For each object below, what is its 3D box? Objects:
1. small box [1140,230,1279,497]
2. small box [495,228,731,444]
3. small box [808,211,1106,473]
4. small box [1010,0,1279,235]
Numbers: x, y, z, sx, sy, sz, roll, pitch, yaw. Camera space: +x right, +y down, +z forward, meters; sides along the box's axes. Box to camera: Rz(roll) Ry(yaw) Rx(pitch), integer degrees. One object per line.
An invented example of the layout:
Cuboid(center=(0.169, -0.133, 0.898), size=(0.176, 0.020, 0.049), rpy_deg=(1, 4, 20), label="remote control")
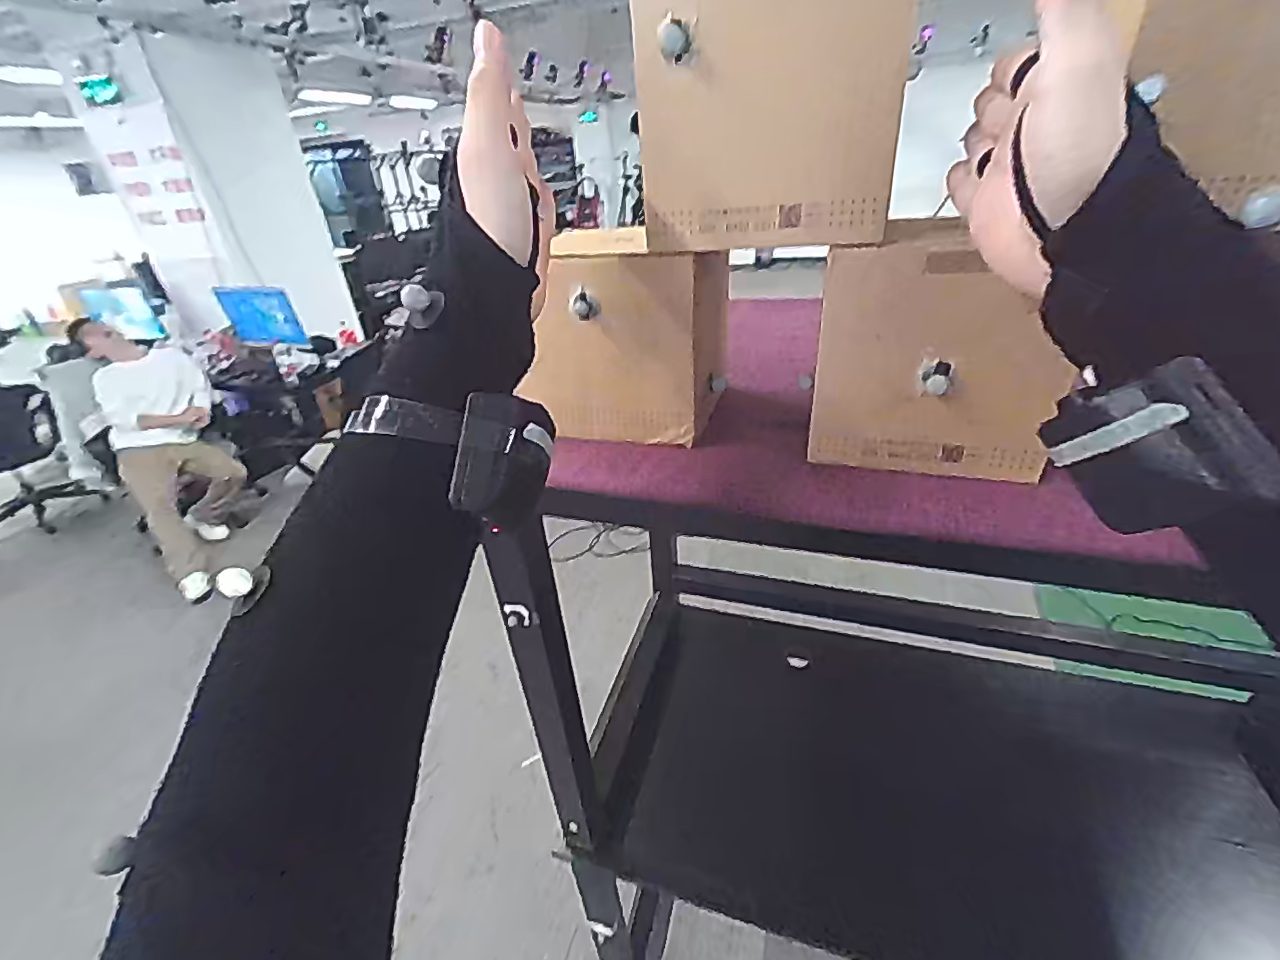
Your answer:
Cuboid(center=(0.502, -0.090, 0.365), size=(0.179, 0.176, 0.168), rpy_deg=(5, 30, 20), label="small box")
Cuboid(center=(-0.012, -0.146, 0.534), size=(0.179, 0.176, 0.168), rpy_deg=(7, 32, 17), label="small box")
Cuboid(center=(0.236, -0.120, 0.454), size=(0.168, 0.176, 0.179), rpy_deg=(7, 32, 18), label="small box")
Cuboid(center=(0.357, -0.249, 0.332), size=(0.179, 0.176, 0.168), rpy_deg=(6, 31, 16), label="small box")
